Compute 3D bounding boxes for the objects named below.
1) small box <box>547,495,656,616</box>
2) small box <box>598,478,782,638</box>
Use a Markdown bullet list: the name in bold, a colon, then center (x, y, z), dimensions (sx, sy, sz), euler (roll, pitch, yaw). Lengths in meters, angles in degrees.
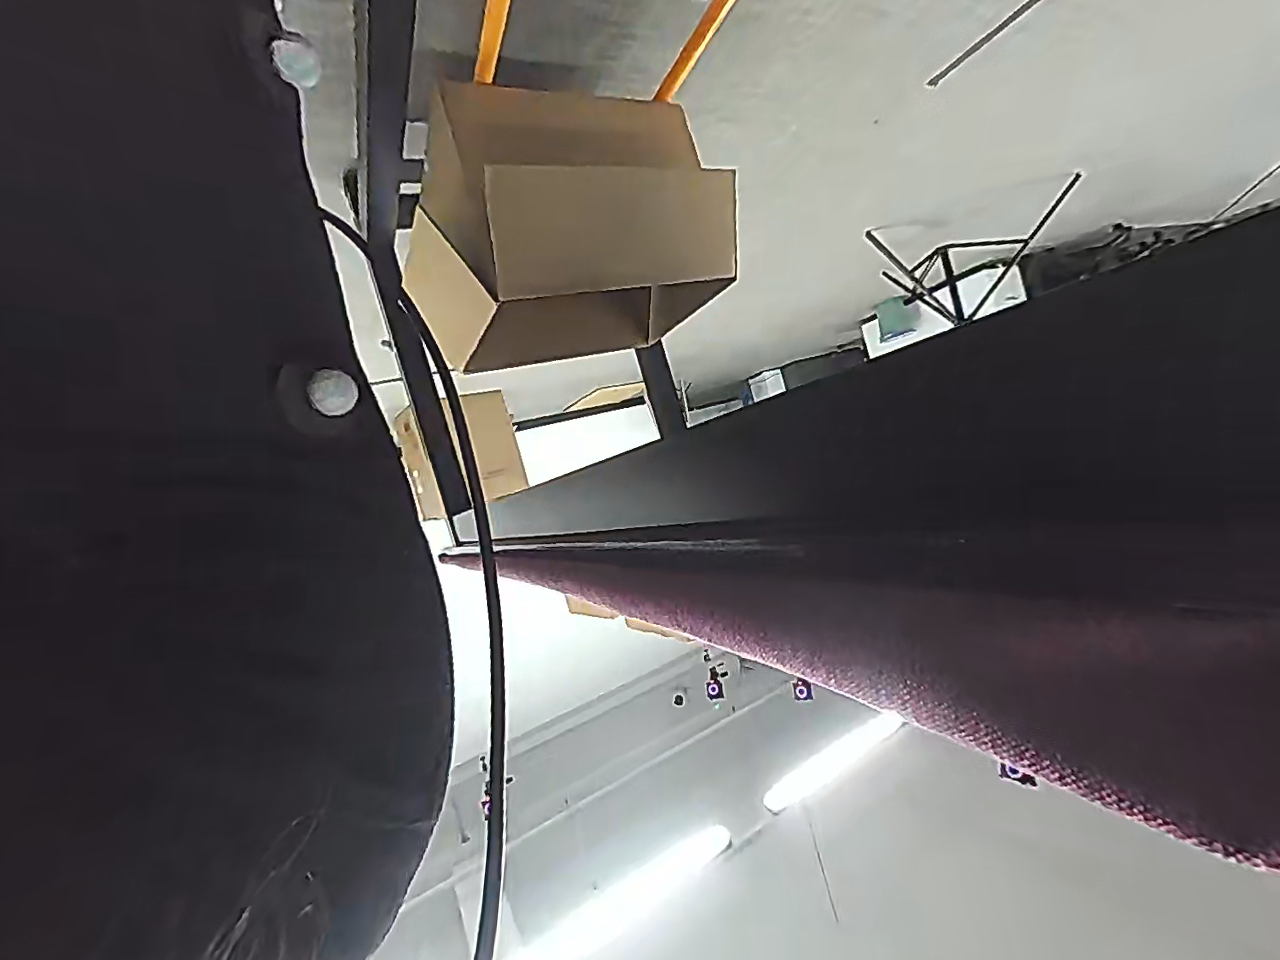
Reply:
- **small box**: center (-0.052, 0.130, 0.977), dimensions (0.168, 0.176, 0.179), euler (-18, -178, -33)
- **small box**: center (0.066, 0.102, 0.769), dimensions (0.179, 0.176, 0.168), euler (-17, -179, -31)
